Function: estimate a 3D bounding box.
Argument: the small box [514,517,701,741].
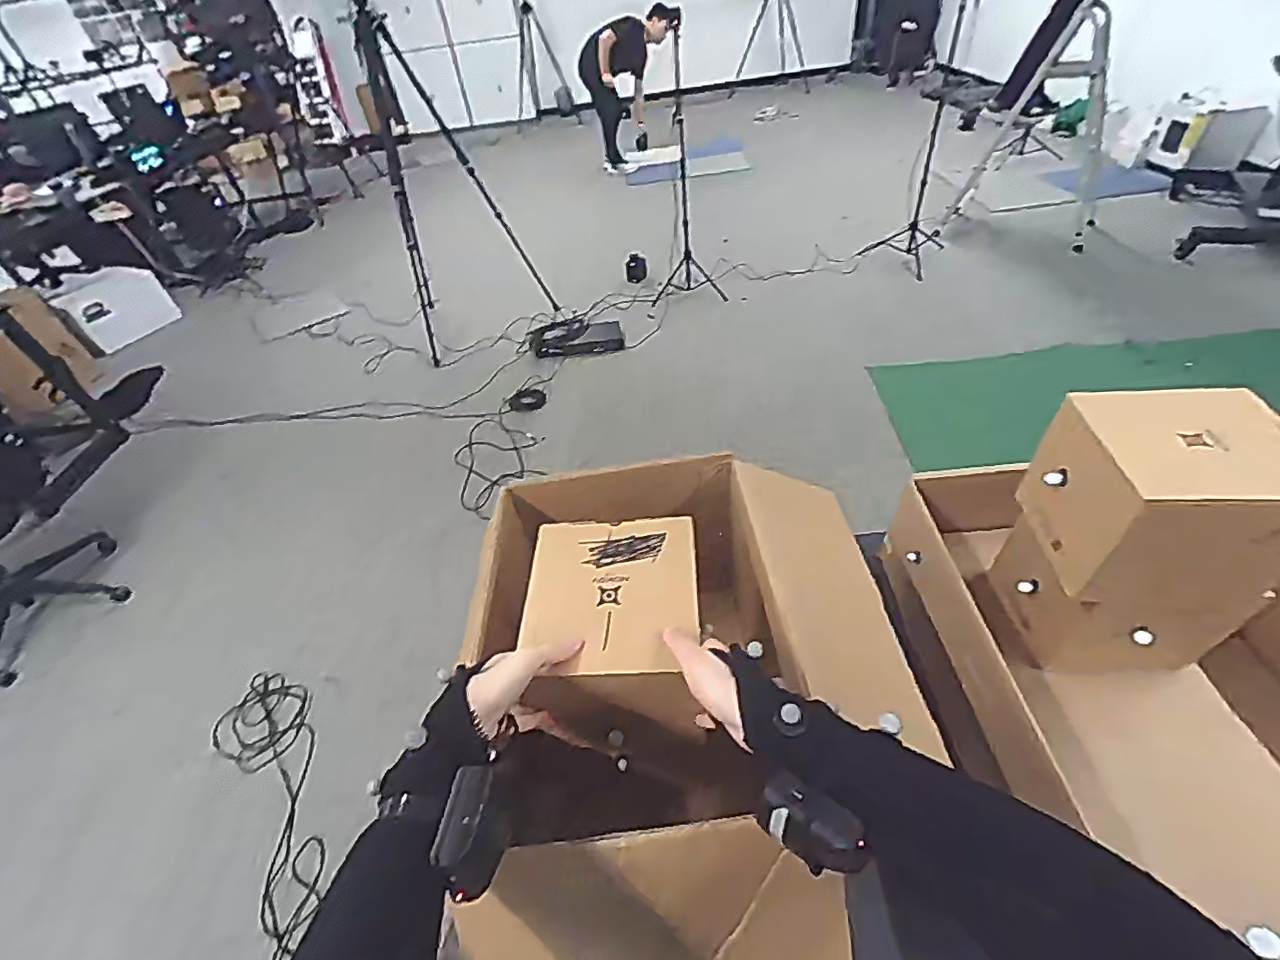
[{"bbox_3d":[-0.021,0.160,0.581,0.168,0.176,0.179,-4,46,5],"label":"small box"}]

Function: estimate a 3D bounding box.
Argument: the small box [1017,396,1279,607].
[{"bbox_3d":[0.553,0.025,0.595,0.179,0.176,0.168,0,46,9],"label":"small box"}]
